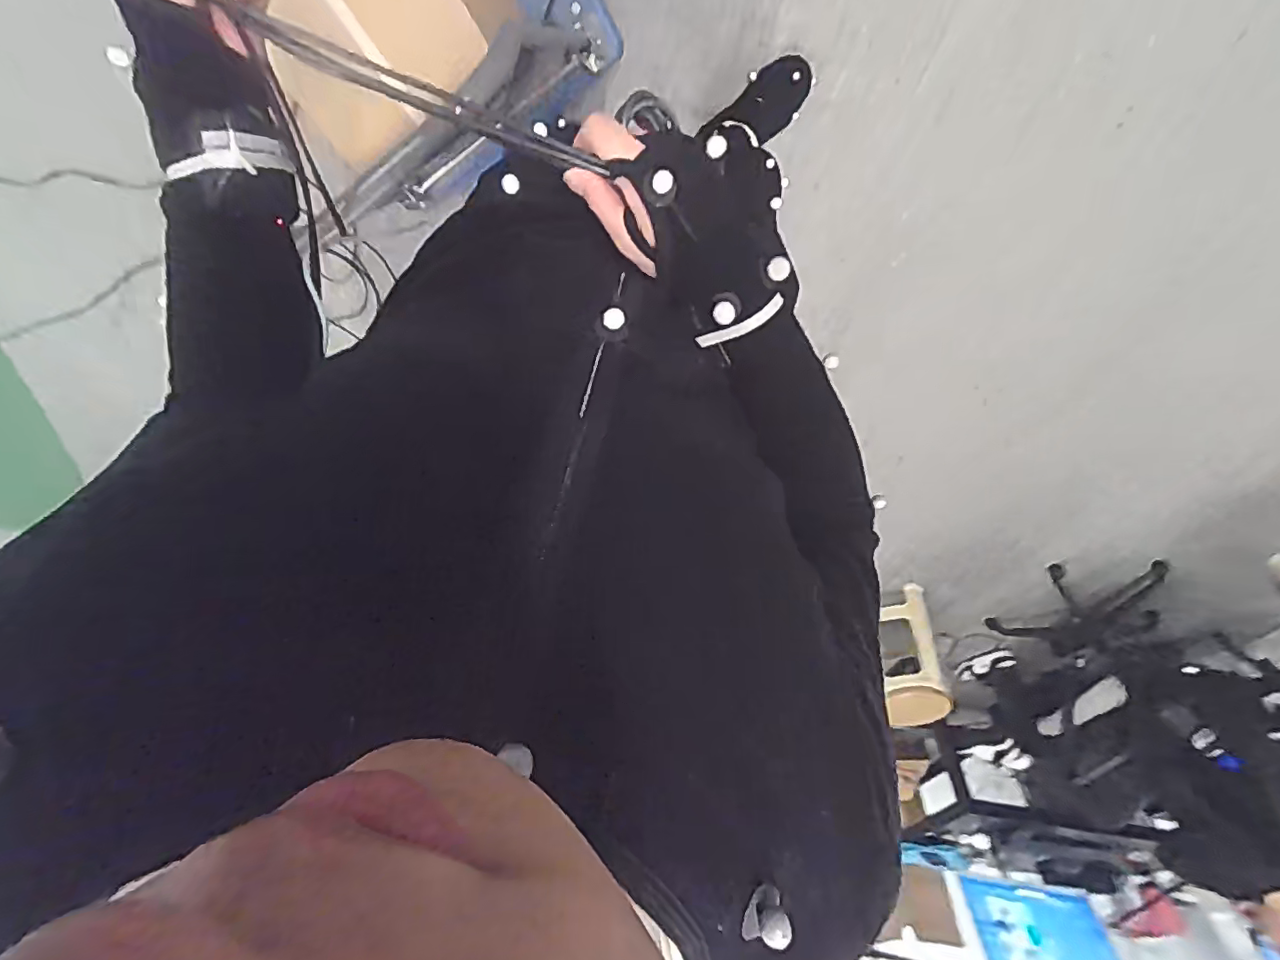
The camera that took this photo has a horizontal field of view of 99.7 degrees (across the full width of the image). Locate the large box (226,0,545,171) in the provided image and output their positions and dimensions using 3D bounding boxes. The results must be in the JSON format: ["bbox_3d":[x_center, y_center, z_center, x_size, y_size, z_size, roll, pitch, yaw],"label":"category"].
[{"bbox_3d":[-0.412,-0.790,0.841,0.320,0.320,0.408,-21,127,23],"label":"large box"}]
